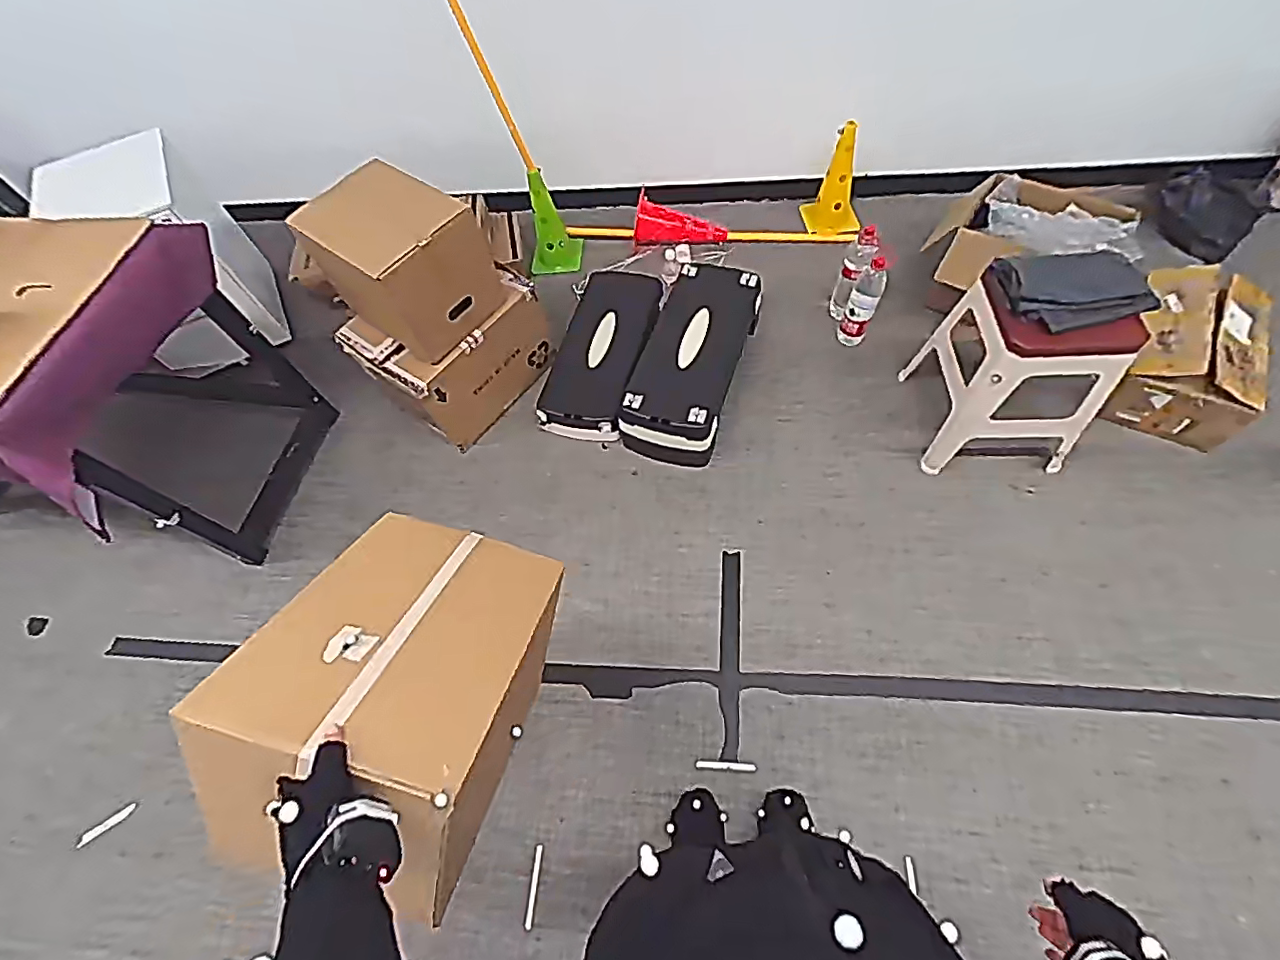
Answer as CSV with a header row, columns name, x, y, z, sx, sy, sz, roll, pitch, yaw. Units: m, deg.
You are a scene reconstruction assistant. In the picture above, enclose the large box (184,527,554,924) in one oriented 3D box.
name,x,y,z,sx,sy,sz,roll,pitch,yaw
large box,-0.351,0.338,0.820,0.320,0.320,0.408,15,30,2
